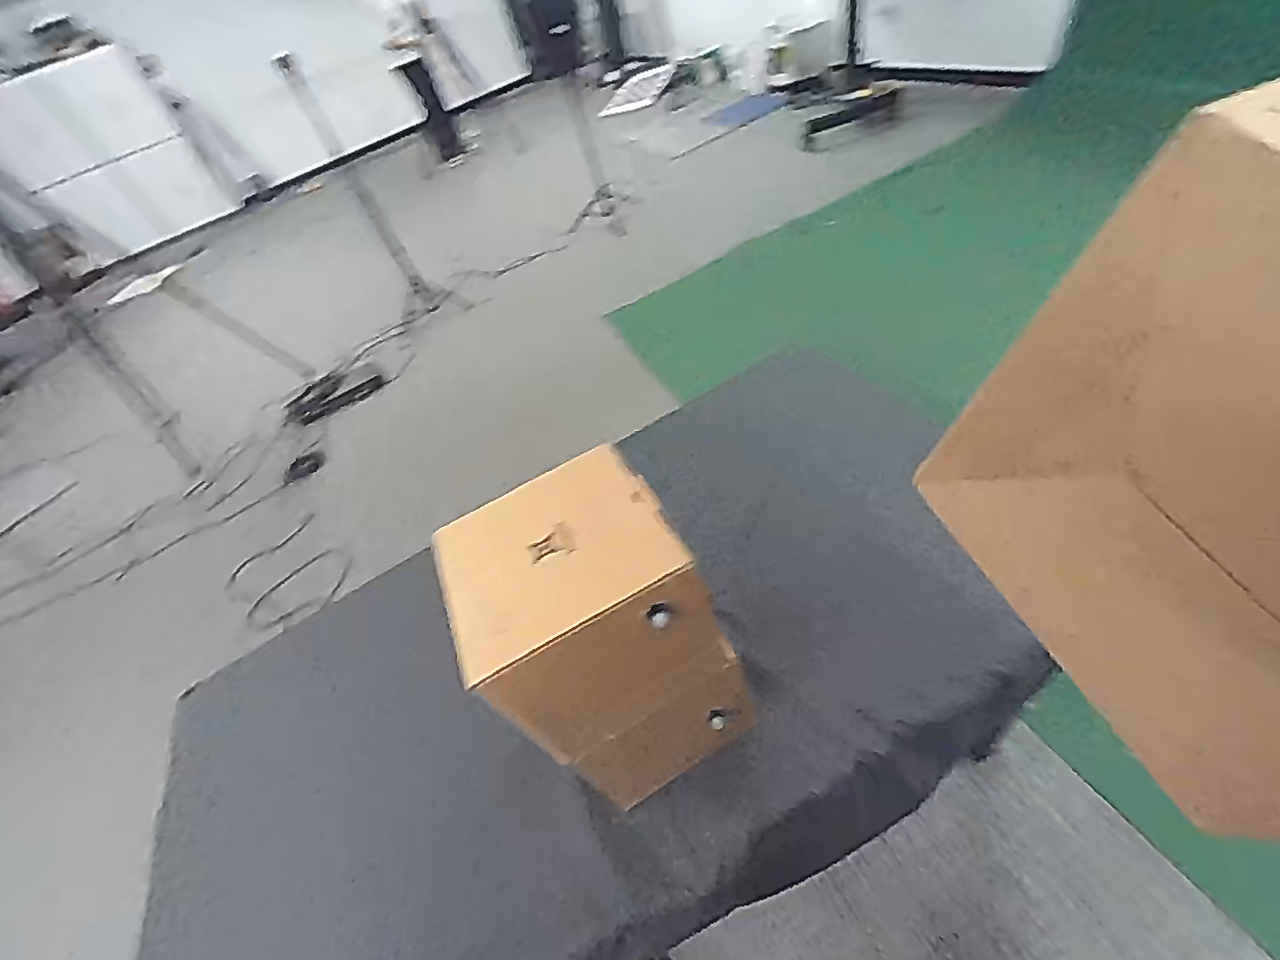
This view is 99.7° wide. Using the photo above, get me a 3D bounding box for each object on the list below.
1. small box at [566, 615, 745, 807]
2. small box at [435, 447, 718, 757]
[{"bbox_3d":[0.000,0.217,0.593,0.179,0.176,0.168,-31,43,-8],"label":"small box"},{"bbox_3d":[-0.052,0.109,0.483,0.179,0.176,0.168,-29,43,-8],"label":"small box"}]
